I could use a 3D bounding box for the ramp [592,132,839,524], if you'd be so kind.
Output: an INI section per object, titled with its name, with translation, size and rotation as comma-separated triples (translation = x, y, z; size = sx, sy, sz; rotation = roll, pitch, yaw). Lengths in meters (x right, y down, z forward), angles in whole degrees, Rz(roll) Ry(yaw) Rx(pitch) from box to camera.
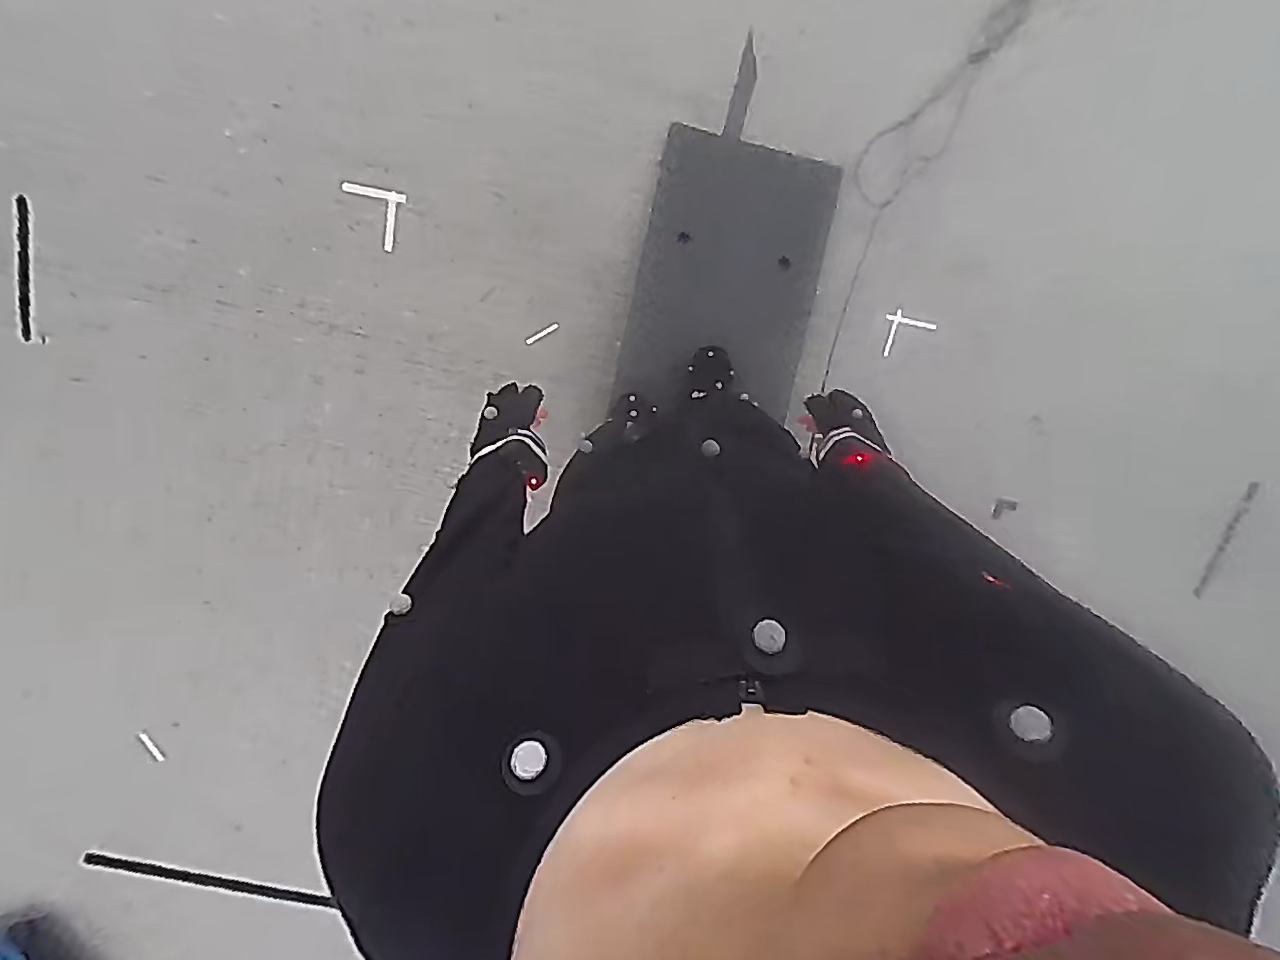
[ramp]
translation = 0.205, -0.410, 1.487
size = 0.509, 0.206, 0.991
rotation = 11, 102, -1
